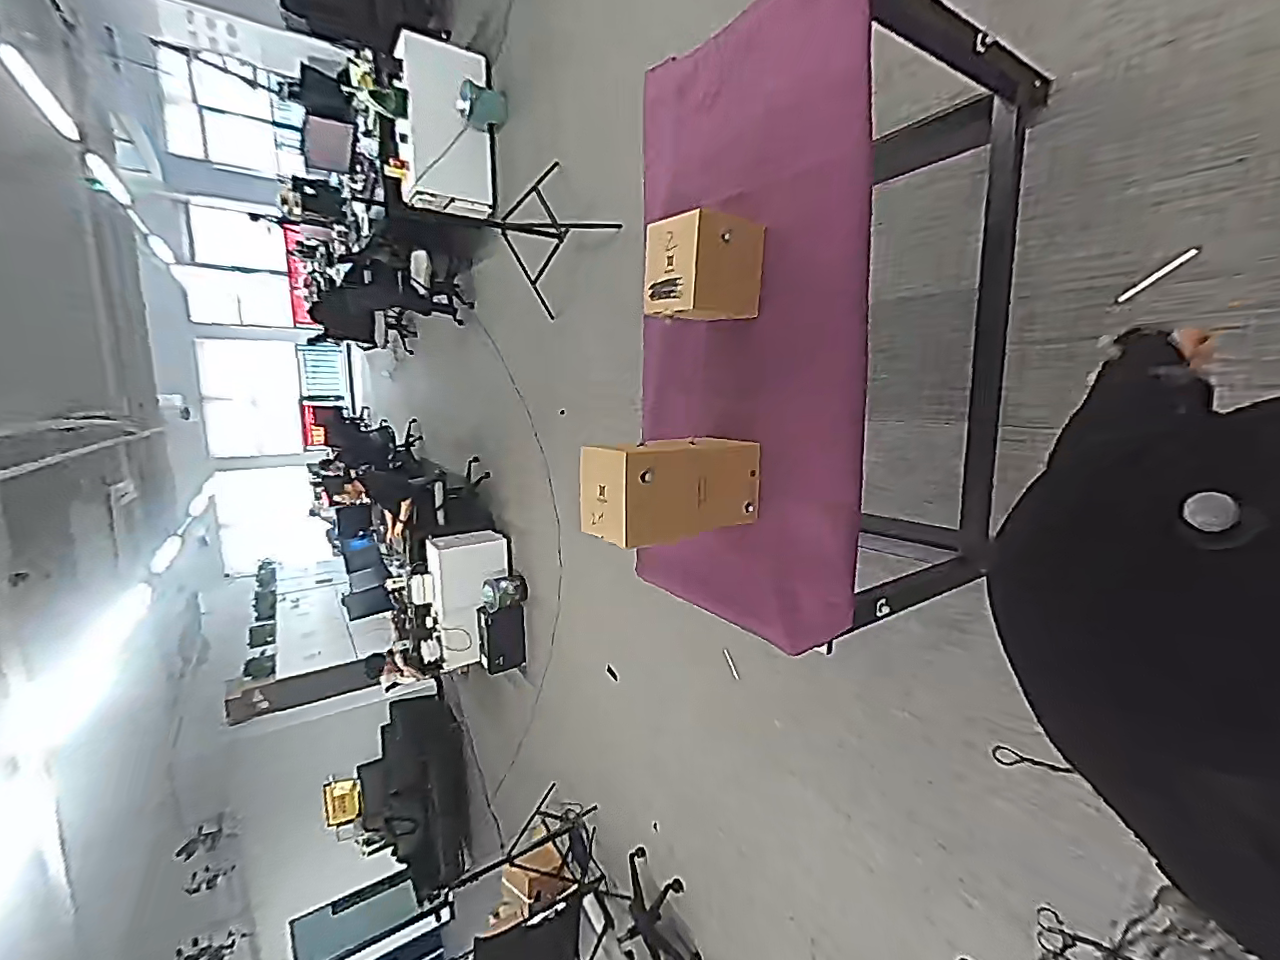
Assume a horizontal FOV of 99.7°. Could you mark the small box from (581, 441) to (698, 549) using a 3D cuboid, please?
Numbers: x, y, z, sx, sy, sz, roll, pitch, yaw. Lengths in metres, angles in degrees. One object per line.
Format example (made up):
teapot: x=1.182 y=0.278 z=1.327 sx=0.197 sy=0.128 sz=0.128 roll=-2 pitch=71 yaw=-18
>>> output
small box: x=-0.001 y=0.018 z=1.041 sx=0.168 sy=0.176 sz=0.179 roll=13 pitch=106 yaw=55

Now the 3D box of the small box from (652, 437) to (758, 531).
small box: x=0.131 y=-0.001 z=1.139 sx=0.179 sy=0.176 sz=0.168 roll=14 pitch=107 yaw=55
